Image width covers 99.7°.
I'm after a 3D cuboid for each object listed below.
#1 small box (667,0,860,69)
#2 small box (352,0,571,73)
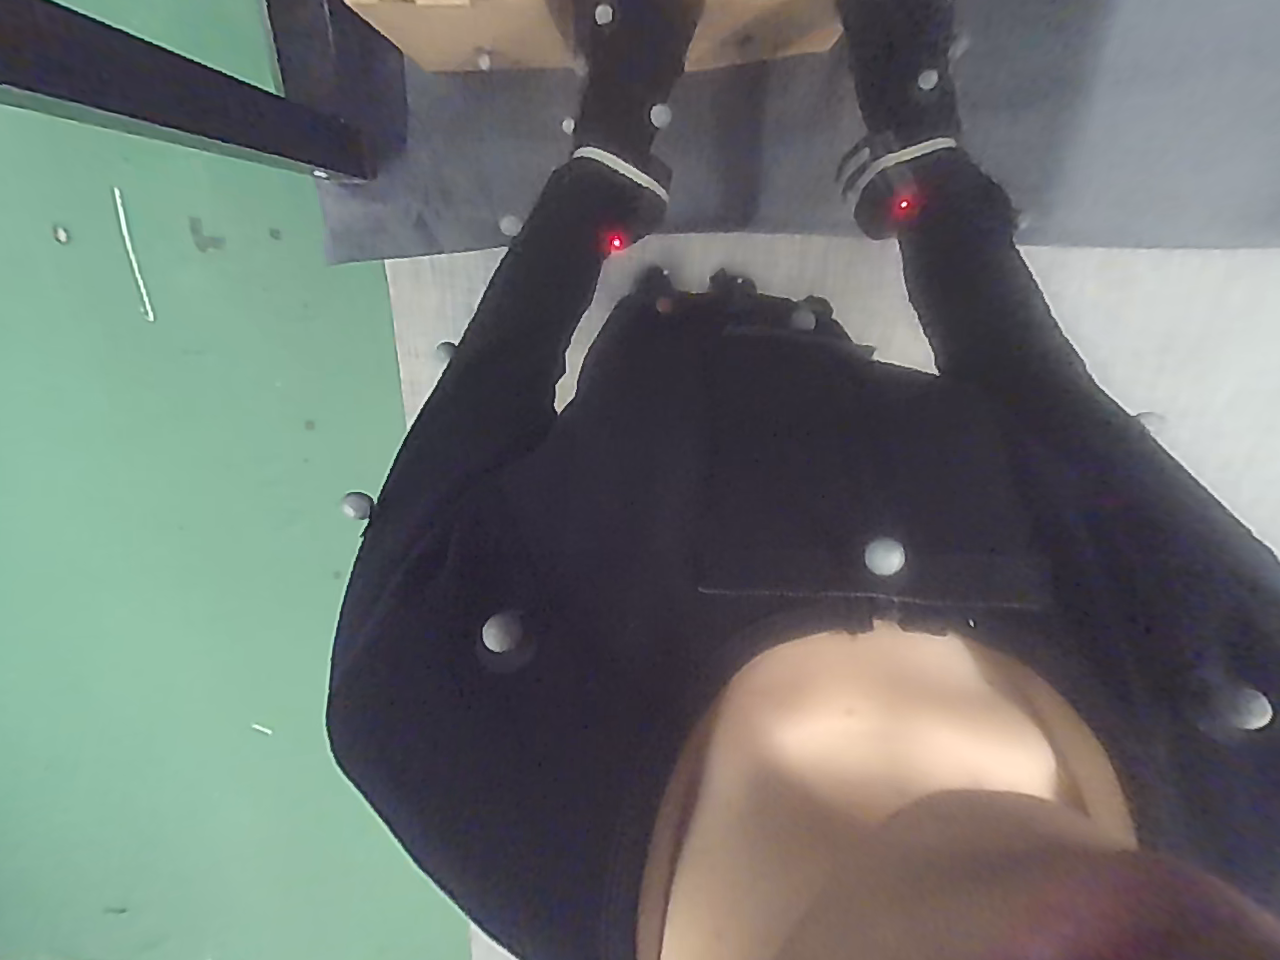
[{"bbox_3d":[0.102,-0.495,0.465,0.168,0.176,0.179,-6,111,5],"label":"small box"},{"bbox_3d":[-0.158,-0.493,0.476,0.168,0.176,0.179,1,111,3],"label":"small box"}]
